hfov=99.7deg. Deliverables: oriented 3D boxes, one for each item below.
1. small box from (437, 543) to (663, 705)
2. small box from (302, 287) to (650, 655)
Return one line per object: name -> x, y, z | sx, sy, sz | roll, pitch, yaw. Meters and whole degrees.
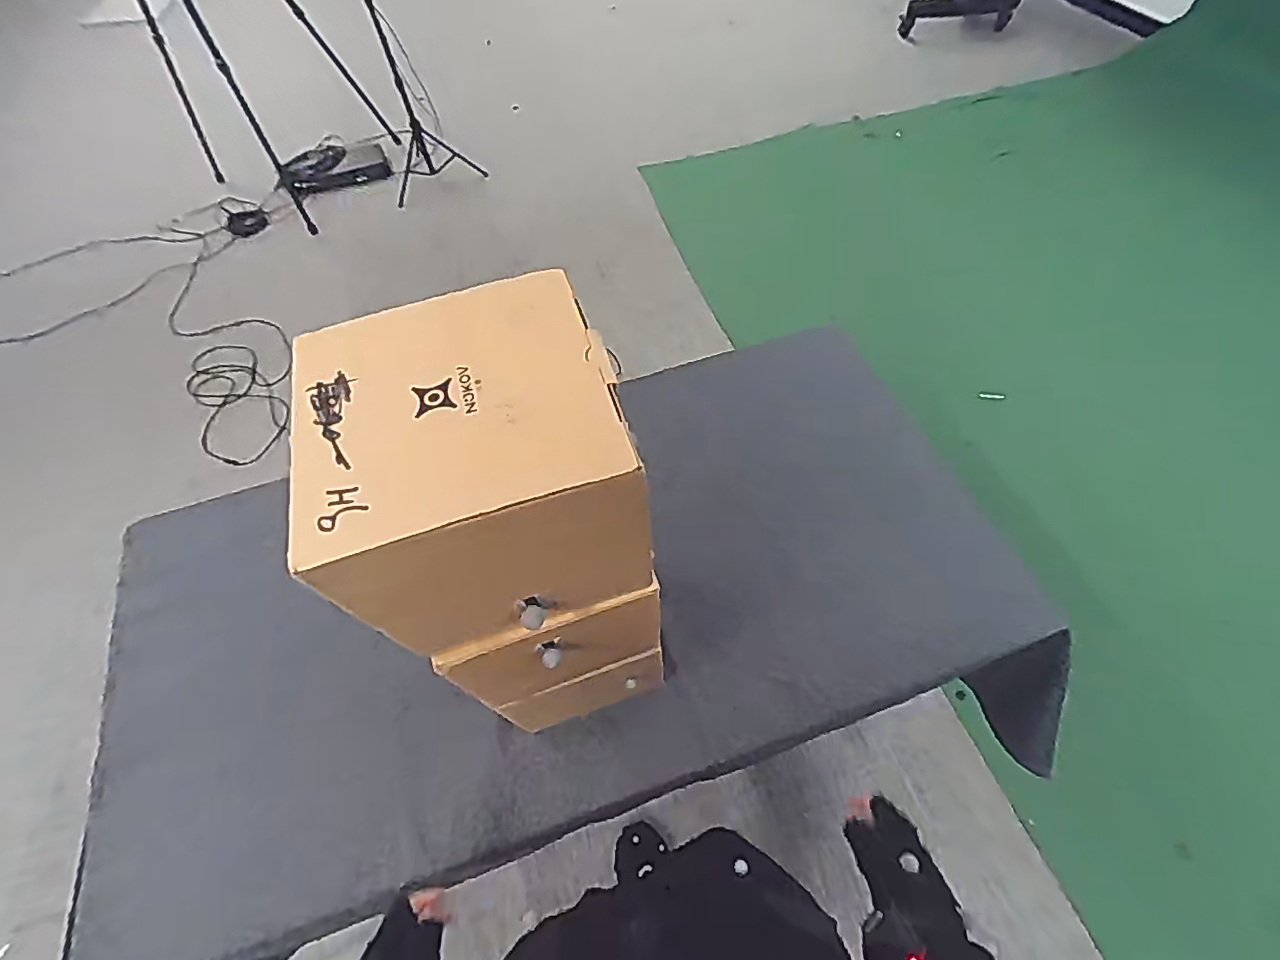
small box -> -0.087, 0.093, 0.512 | 0.179, 0.176, 0.168 | -18, 59, -8
small box -> -0.099, 0.002, 0.376 | 0.179, 0.176, 0.168 | -16, 58, -7
